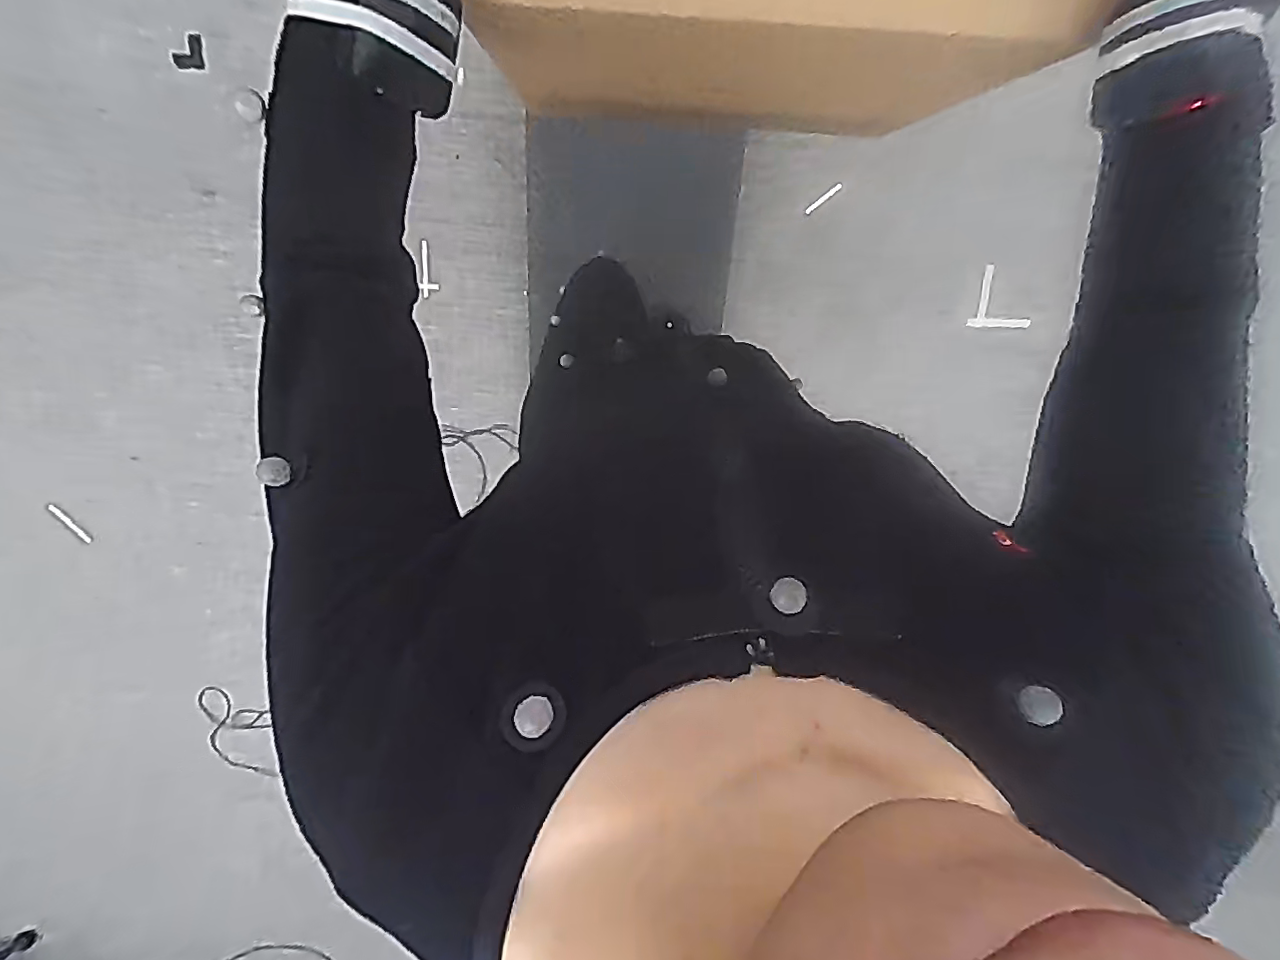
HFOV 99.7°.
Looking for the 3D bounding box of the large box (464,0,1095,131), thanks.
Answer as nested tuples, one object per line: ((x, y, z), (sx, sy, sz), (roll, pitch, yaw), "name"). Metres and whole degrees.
((0.084, -0.483, 0.415), (0.408, 0.320, 0.320), (1, 113, -3), "large box")

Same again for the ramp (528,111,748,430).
((-0.014, -0.599, 1.289), (0.509, 0.206, 0.991), (1, 106, -3), "ramp")
